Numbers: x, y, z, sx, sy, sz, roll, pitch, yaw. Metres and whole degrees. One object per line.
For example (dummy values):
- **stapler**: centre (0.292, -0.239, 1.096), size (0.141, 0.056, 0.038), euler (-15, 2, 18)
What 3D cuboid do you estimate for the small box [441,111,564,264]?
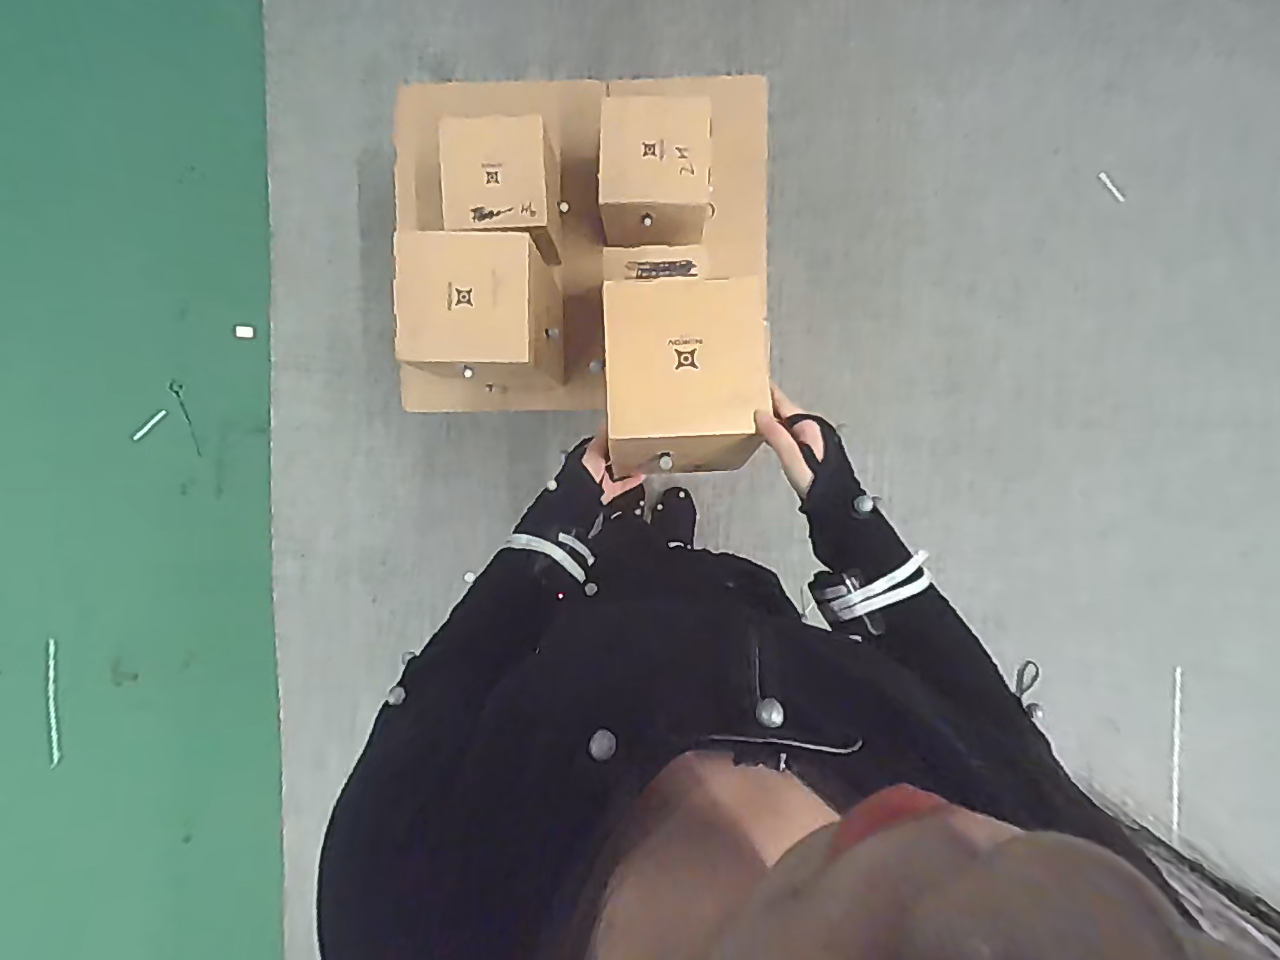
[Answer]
- **small box**: centre (-0.227, -0.487, 0.924), size (0.168, 0.176, 0.179), euler (-2, 91, 3)

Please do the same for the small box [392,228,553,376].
- **small box**: centre (-0.228, -0.241, 0.770), size (0.179, 0.176, 0.168), euler (1, 94, 1)

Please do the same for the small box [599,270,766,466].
- **small box**: centre (0.041, -0.116, 0.626), size (0.168, 0.176, 0.179), euler (-2, 77, -1)

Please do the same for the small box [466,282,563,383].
- **small box**: centre (-0.228, -0.264, 0.932), size (0.168, 0.176, 0.179), euler (1, 92, 2)
